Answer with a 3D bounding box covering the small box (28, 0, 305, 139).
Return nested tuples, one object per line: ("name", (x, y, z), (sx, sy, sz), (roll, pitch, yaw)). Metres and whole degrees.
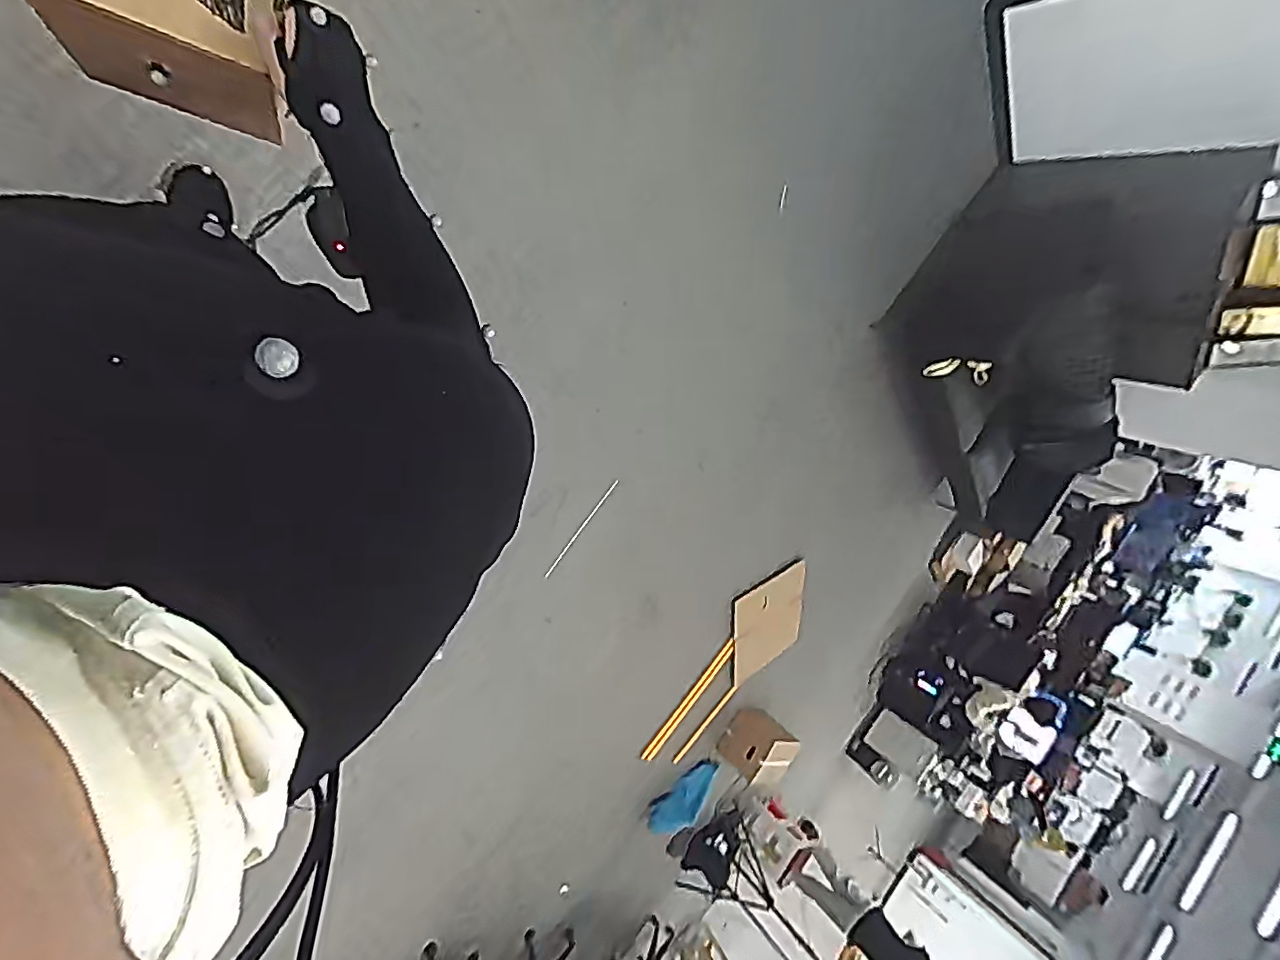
("small box", (-0.435, -0.467, 0.520), (0.179, 0.176, 0.168), (8, 93, -30))
